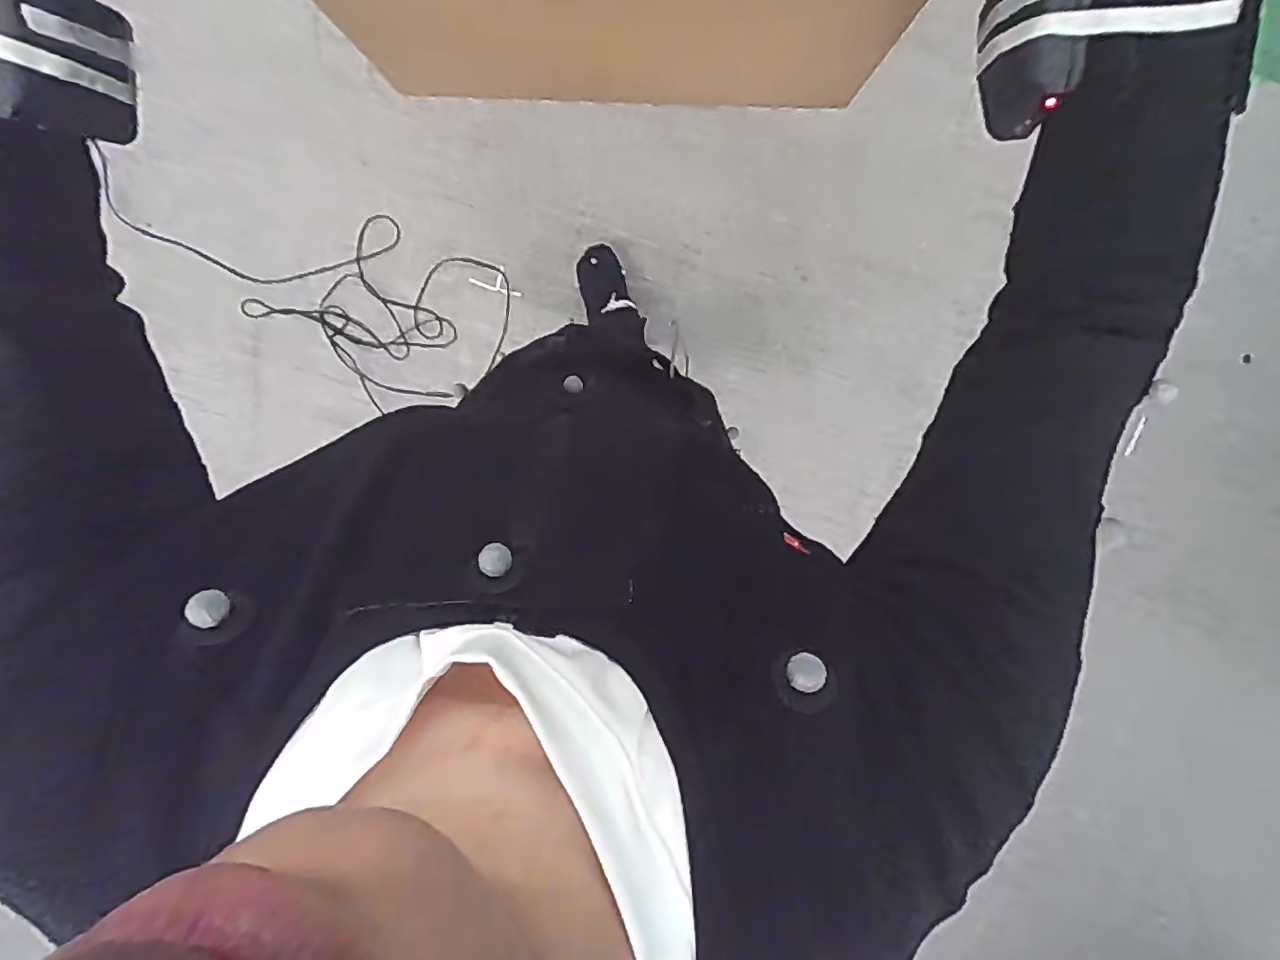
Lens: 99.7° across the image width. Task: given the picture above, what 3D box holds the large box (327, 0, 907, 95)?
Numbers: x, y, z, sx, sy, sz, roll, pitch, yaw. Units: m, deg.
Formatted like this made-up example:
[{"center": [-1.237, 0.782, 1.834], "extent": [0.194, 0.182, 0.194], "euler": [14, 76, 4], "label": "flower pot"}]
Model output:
[{"center": [-0.016, -0.462, 0.307], "extent": [0.408, 0.320, 0.320], "euler": [1, 103, 0], "label": "large box"}]
